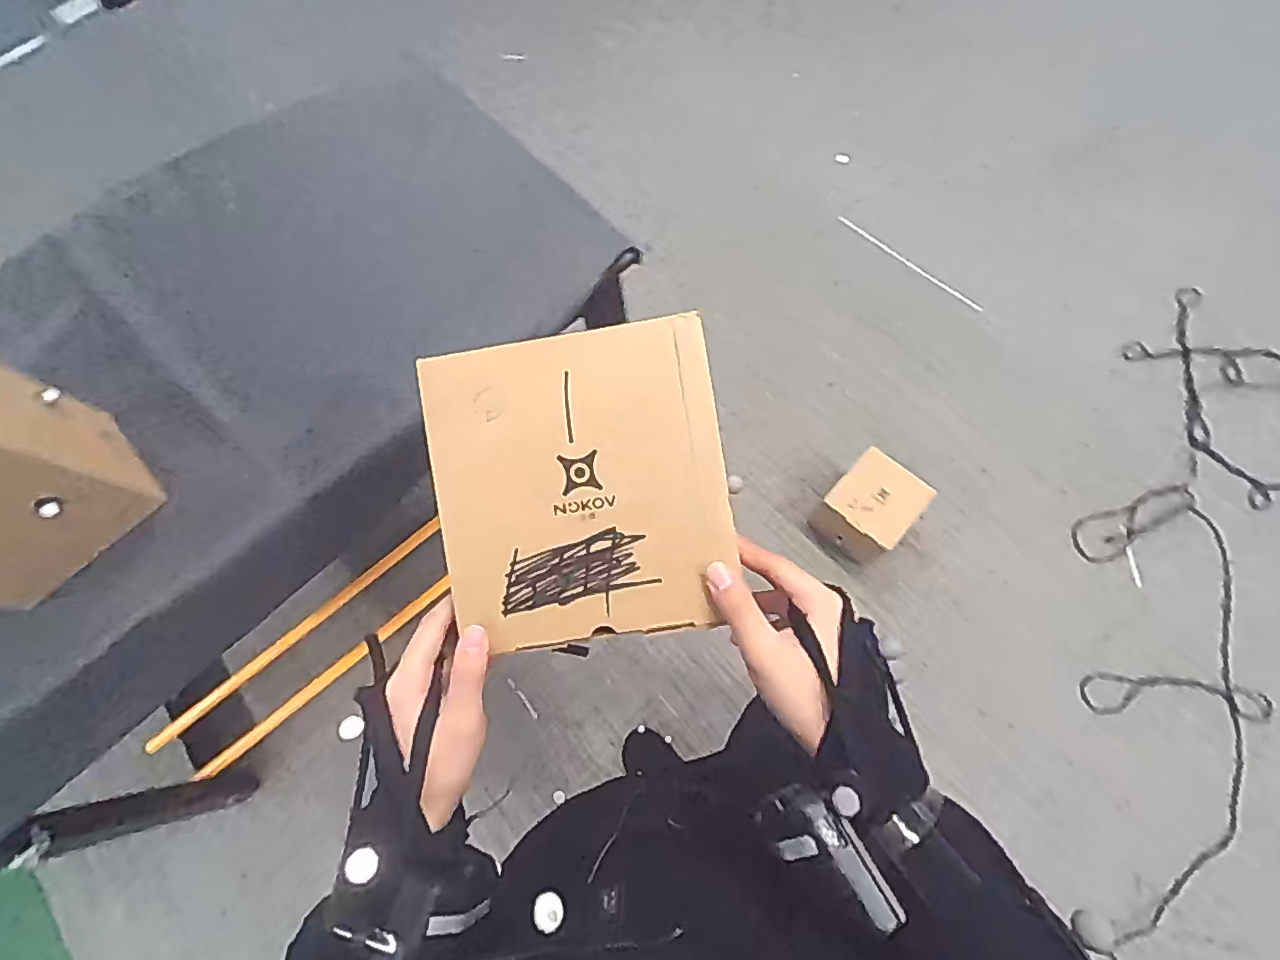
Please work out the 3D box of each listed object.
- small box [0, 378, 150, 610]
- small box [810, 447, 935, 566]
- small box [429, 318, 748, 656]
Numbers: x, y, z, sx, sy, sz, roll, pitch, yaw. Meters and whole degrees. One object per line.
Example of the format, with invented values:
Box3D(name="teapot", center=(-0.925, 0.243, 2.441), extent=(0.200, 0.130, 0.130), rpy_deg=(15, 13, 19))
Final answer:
Box3D(name="small box", center=(-0.659, 0.008, 0.548), extent=(0.168, 0.176, 0.179), rpy_deg=(41, 78, 18))
Box3D(name="small box", center=(0.506, 0.065, 1.206), extent=(0.168, 0.176, 0.179), rpy_deg=(40, 78, 17))
Box3D(name="small box", center=(-0.024, 0.005, 0.385), extent=(0.168, 0.176, 0.179), rpy_deg=(-9, 89, 3))
